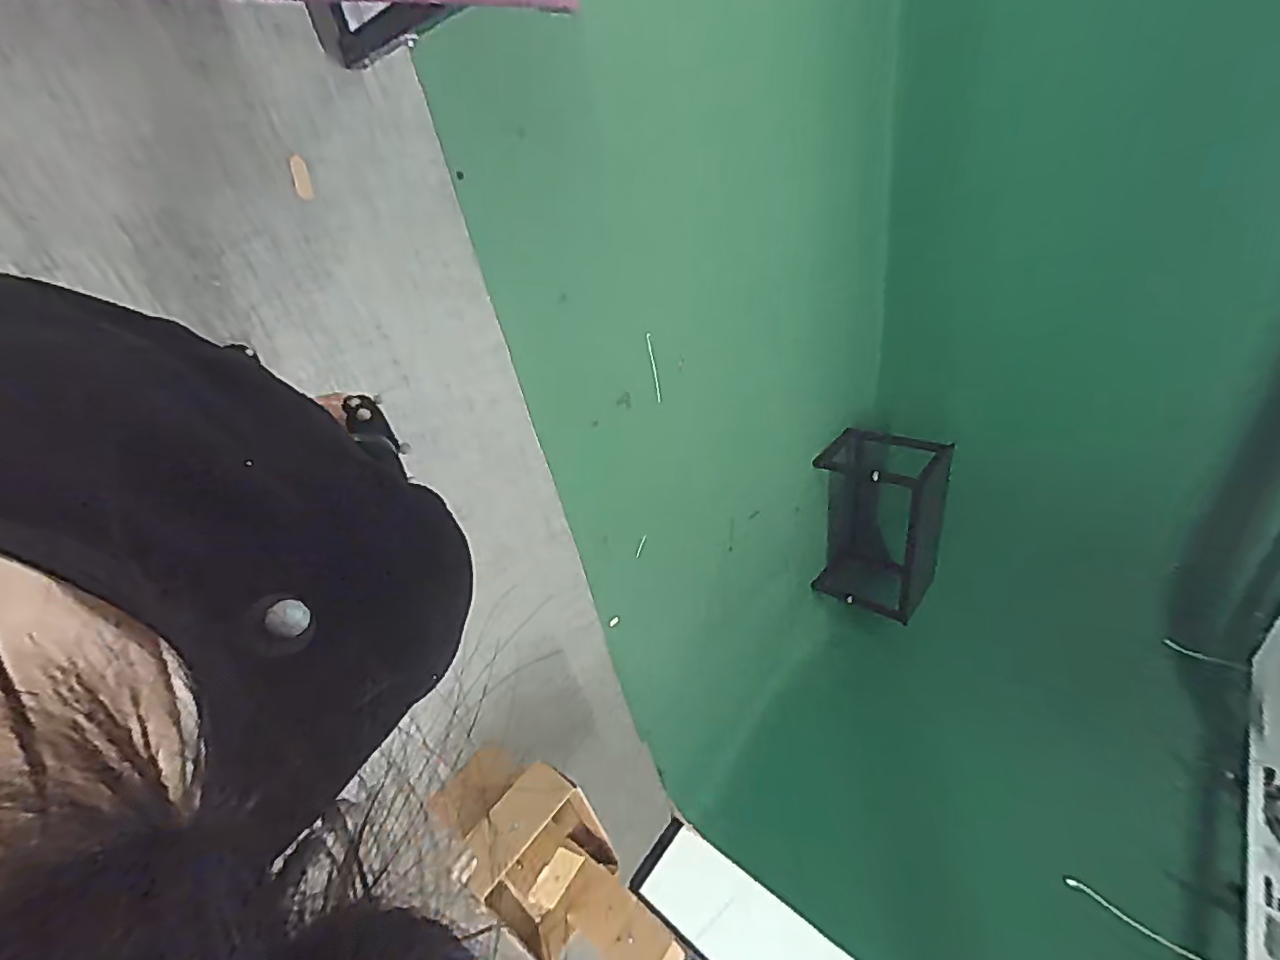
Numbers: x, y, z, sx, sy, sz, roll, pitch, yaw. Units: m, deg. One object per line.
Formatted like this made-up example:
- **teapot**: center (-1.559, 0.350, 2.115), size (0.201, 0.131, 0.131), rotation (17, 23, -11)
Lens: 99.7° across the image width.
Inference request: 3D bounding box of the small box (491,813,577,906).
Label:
- **small box**: center (-0.341, 1.207, 1.729), size (0.168, 0.176, 0.179), rotation (-50, 136, -24)

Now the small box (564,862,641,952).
- **small box**: center (-0.131, 1.433, 1.798), size (0.179, 0.176, 0.168), rotation (-45, 133, -31)

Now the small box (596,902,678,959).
- **small box**: center (-0.010, 1.482, 1.697), size (0.168, 0.176, 0.179), rotation (-43, 132, -33)
